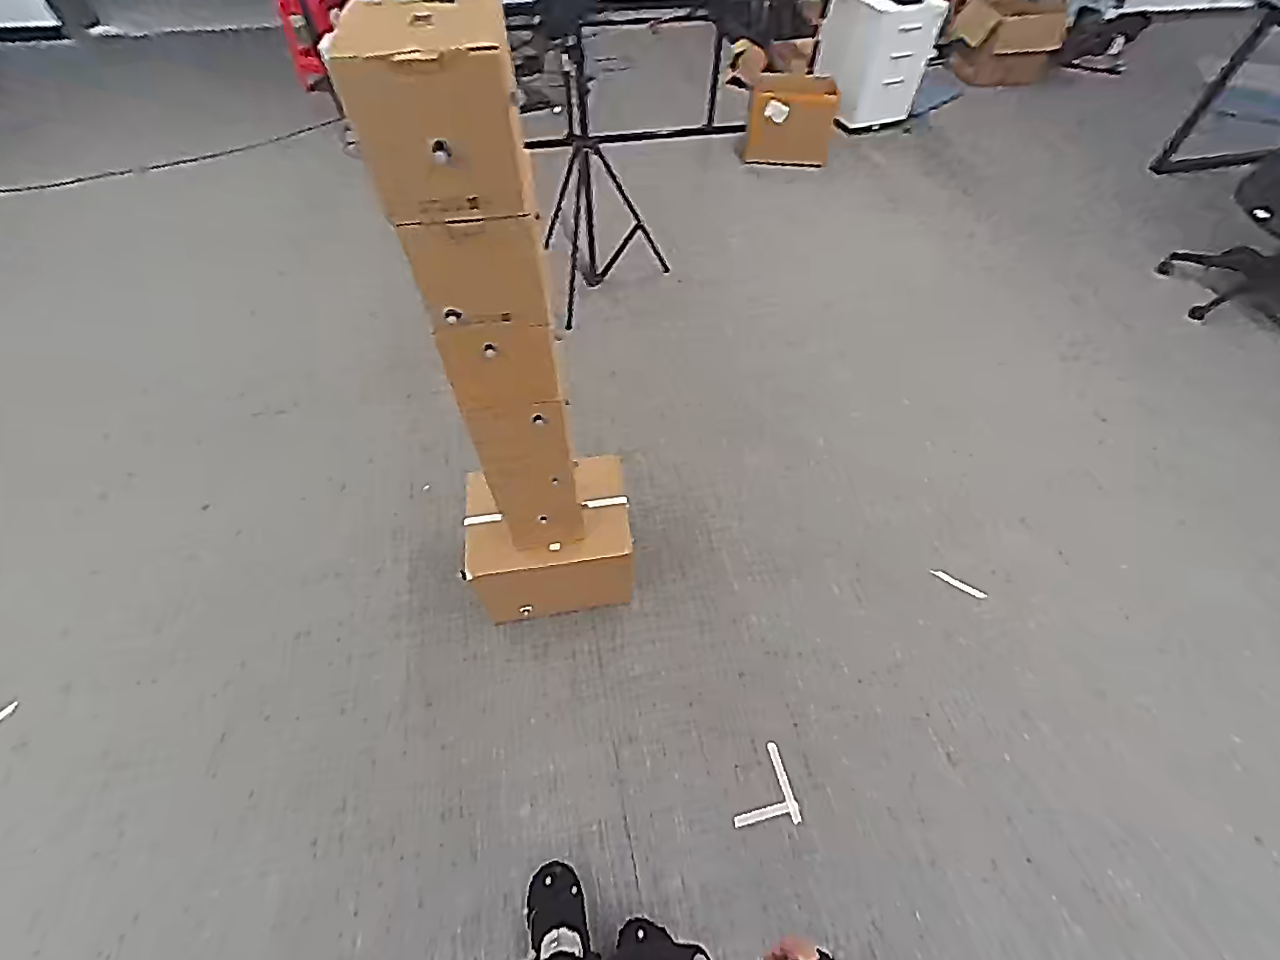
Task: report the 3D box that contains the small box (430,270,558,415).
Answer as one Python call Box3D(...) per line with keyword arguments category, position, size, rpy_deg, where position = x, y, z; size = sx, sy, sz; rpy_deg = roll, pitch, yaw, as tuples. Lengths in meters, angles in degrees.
Box3D(category="small box", position=(-0.232, -0.227, 0.903), size=(0.179, 0.176, 0.168), rpy_deg=(-7, 56, -5))

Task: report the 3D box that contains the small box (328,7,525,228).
Box3D(category="small box", position=(-0.232, -0.415, 0.634), size=(0.168, 0.176, 0.179), rpy_deg=(-8, 56, -6))

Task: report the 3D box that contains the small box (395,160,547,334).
Box3D(category="small box", position=(-0.228, -0.323, 0.770), size=(0.168, 0.176, 0.179), rpy_deg=(-7, 55, -5))

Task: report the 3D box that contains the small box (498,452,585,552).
Box3D(category="small box", position=(-0.234, 0.059, 1.302), size=(0.179, 0.176, 0.168), rpy_deg=(-9, 56, -8))

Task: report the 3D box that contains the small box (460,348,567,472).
Box3D(category="small box", position=(-0.233, -0.133, 1.035), size=(0.179, 0.176, 0.168), rpy_deg=(-7, 55, -5))
